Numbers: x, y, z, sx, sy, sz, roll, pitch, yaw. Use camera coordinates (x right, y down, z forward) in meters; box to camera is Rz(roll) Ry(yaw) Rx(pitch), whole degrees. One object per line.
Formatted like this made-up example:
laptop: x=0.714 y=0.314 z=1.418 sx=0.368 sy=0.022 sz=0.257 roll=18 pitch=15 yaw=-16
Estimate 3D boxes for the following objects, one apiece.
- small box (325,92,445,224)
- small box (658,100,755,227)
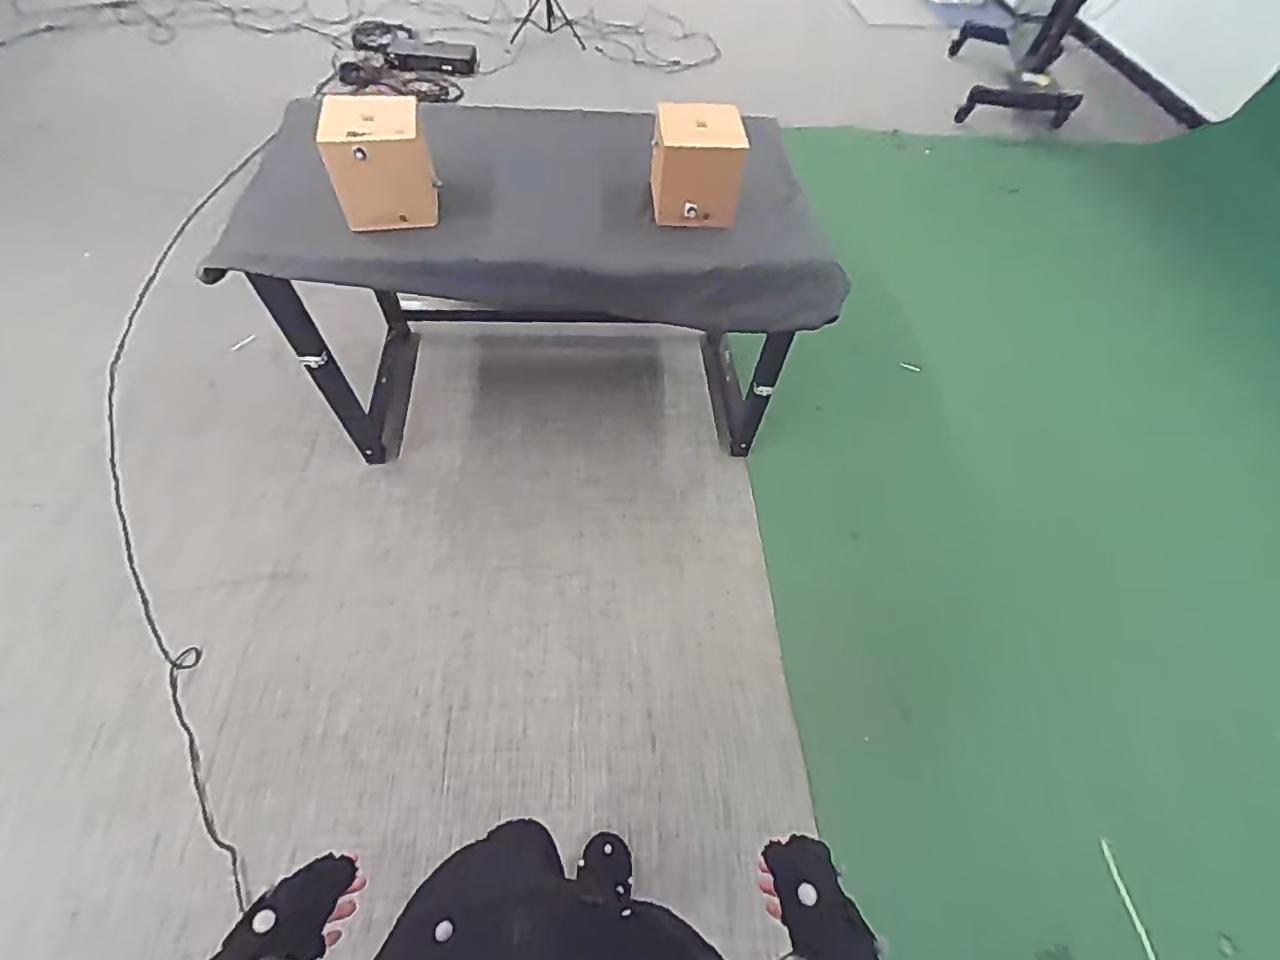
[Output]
small box: x=-0.485 y=-0.626 z=1.055 sx=0.168 sy=0.176 sz=0.179 roll=-8 pitch=57 yaw=-9
small box: x=0.129 y=-0.658 z=1.129 sx=0.168 sy=0.176 sz=0.179 roll=-2 pitch=59 yaw=-4
